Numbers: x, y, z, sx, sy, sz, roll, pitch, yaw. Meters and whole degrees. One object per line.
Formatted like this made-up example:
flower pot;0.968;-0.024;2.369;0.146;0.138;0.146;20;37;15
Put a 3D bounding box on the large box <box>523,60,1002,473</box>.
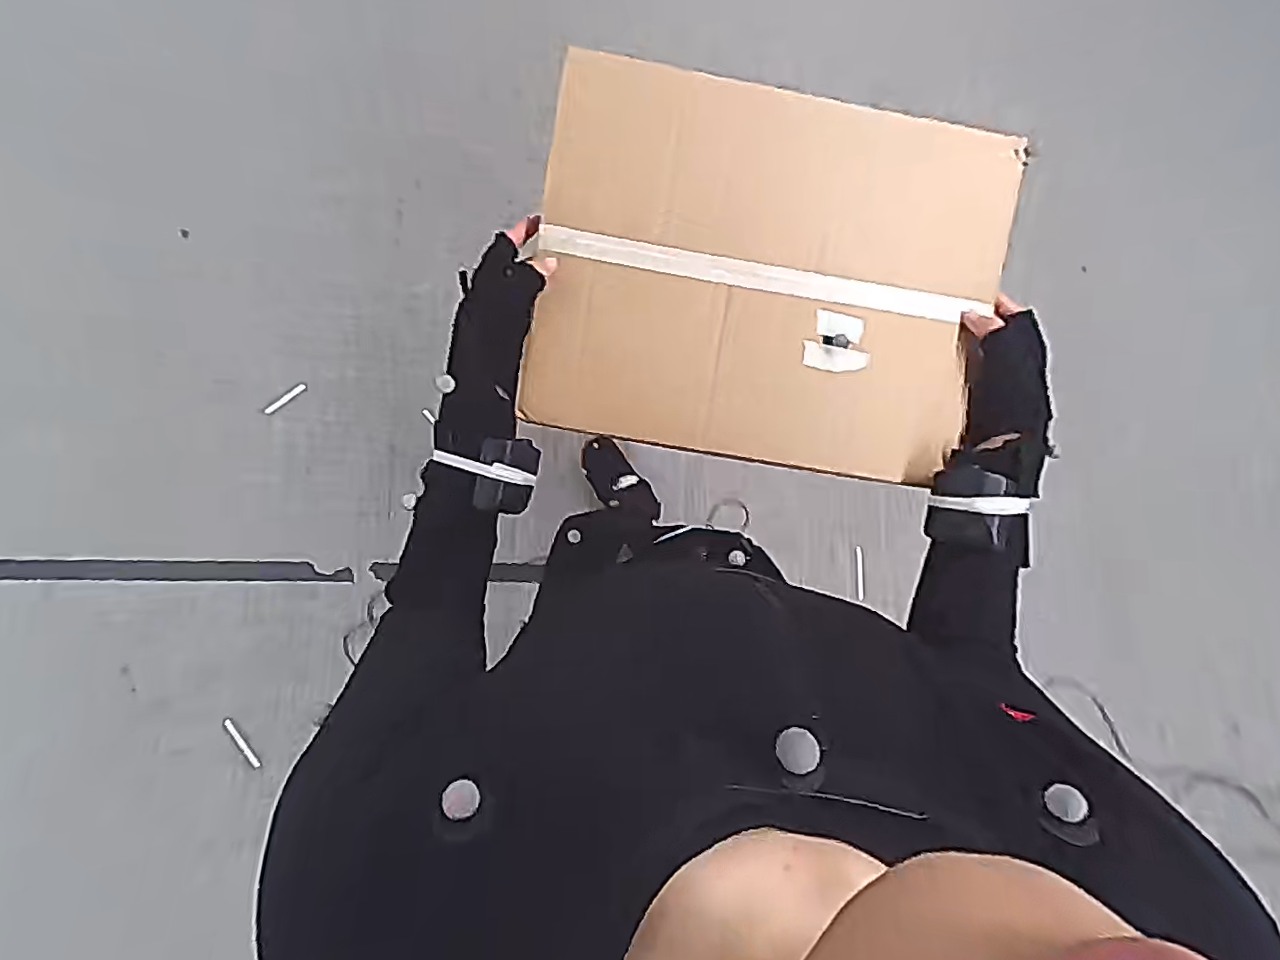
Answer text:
large box;0.102;-0.195;0.635;0.408;0.320;0.320;10;95;-4
